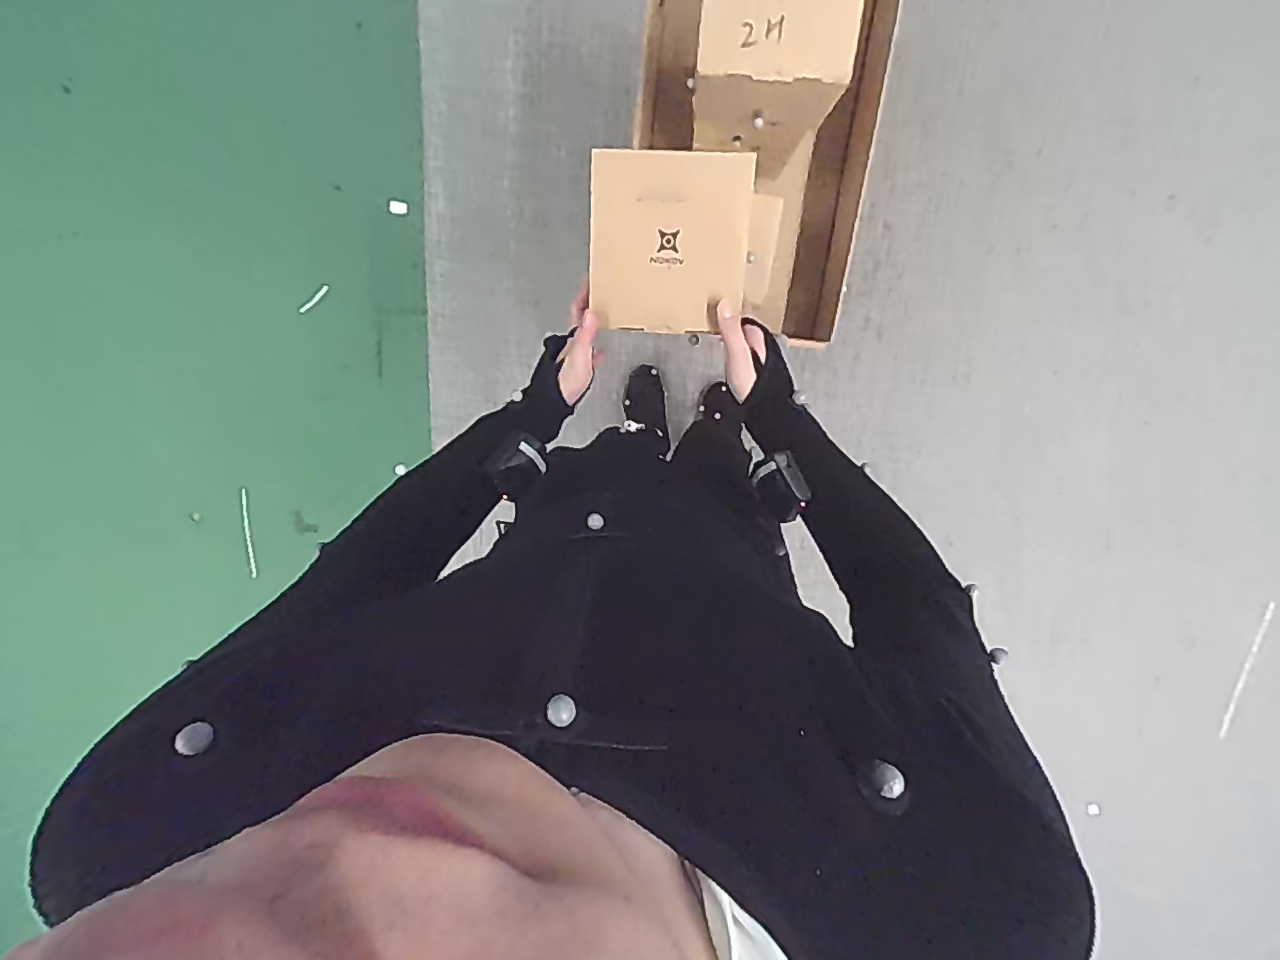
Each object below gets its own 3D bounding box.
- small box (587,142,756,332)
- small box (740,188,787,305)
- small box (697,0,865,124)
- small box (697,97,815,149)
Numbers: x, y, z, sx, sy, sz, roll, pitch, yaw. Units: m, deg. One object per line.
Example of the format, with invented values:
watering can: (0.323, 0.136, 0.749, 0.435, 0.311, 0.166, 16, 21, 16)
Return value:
small box: (0.034, -0.270, 0.629, 0.168, 0.176, 0.179, 3, 107, 3)
small box: (0.159, -0.422, 0.988, 0.168, 0.176, 0.179, 8, 105, 3)
small box: (0.156, -0.539, 0.620, 0.168, 0.176, 0.179, 6, 109, 4)
small box: (0.174, -0.602, 0.772, 0.168, 0.176, 0.179, 7, 109, 3)
